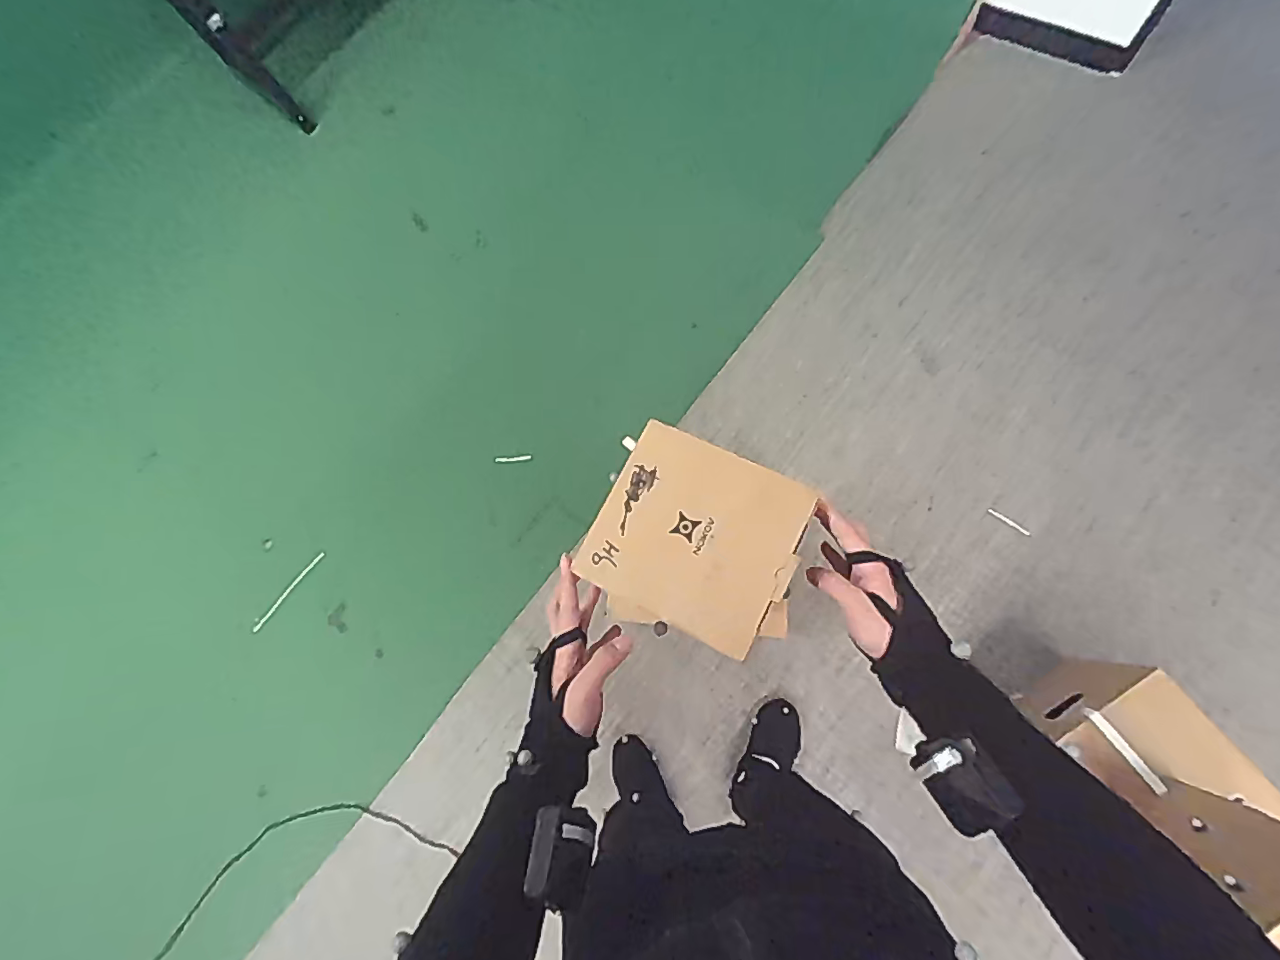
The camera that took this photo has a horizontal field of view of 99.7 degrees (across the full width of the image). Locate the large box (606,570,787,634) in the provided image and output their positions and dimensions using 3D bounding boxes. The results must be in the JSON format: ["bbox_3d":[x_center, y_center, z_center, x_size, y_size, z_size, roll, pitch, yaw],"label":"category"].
[{"bbox_3d":[0.159,0.211,1.367,0.408,0.320,0.320,3,75,12],"label":"large box"}]

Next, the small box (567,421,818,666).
[{"bbox_3d":[0.055,0.068,0.560,0.179,0.176,0.168,27,79,13],"label":"small box"}]

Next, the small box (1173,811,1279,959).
[{"bbox_3d":[0.874,0.580,0.709,0.179,0.176,0.168,-34,73,1],"label":"small box"}]
